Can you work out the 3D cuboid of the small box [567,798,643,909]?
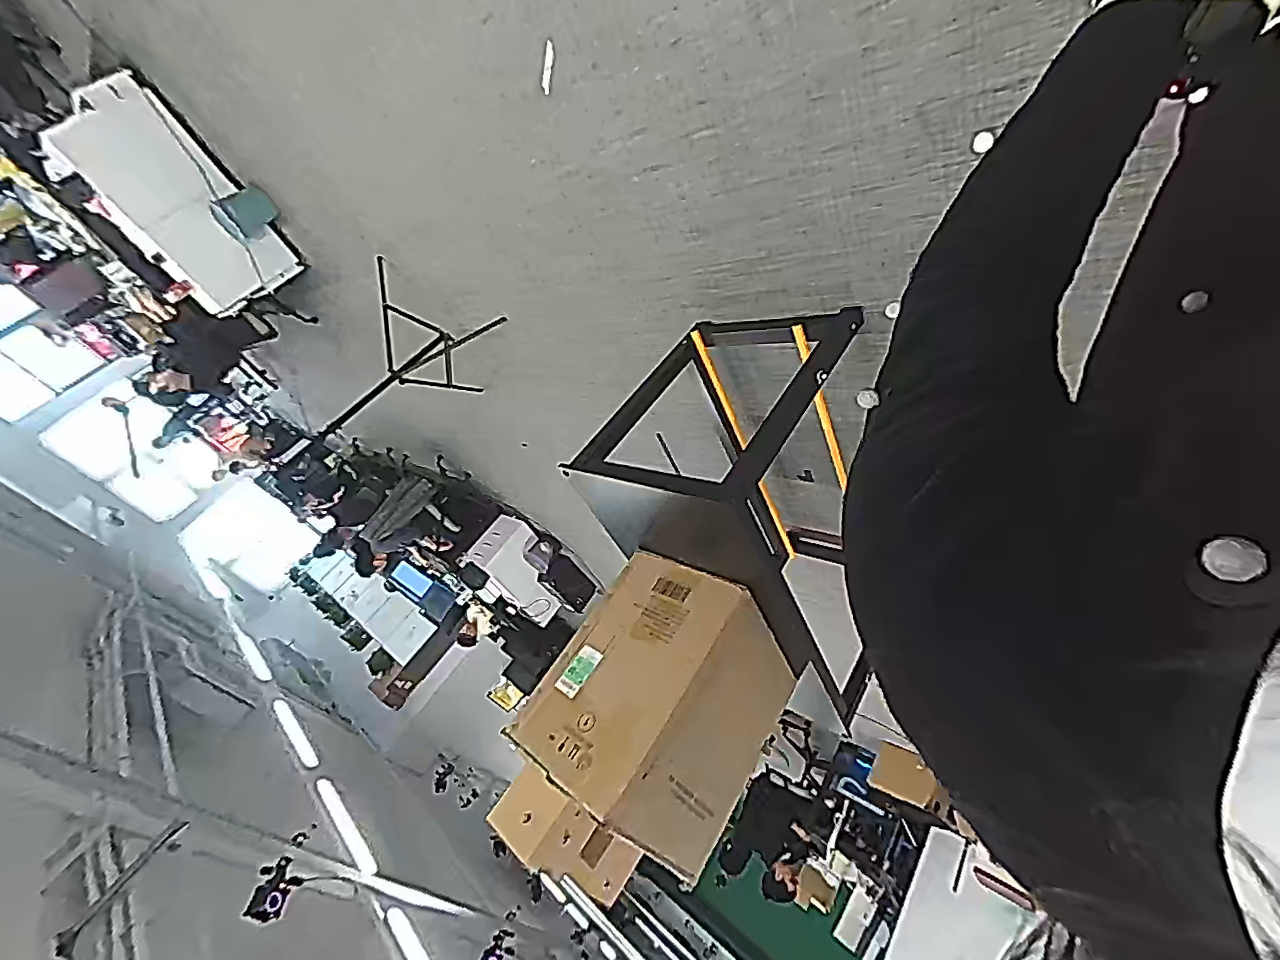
[{"bbox_3d":[-0.119,1.026,1.494,0.168,0.176,0.179,13,144,45],"label":"small box"}]

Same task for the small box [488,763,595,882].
[{"bbox_3d":[-0.234,0.847,1.347,0.179,0.176,0.168,15,147,44],"label":"small box"}]
